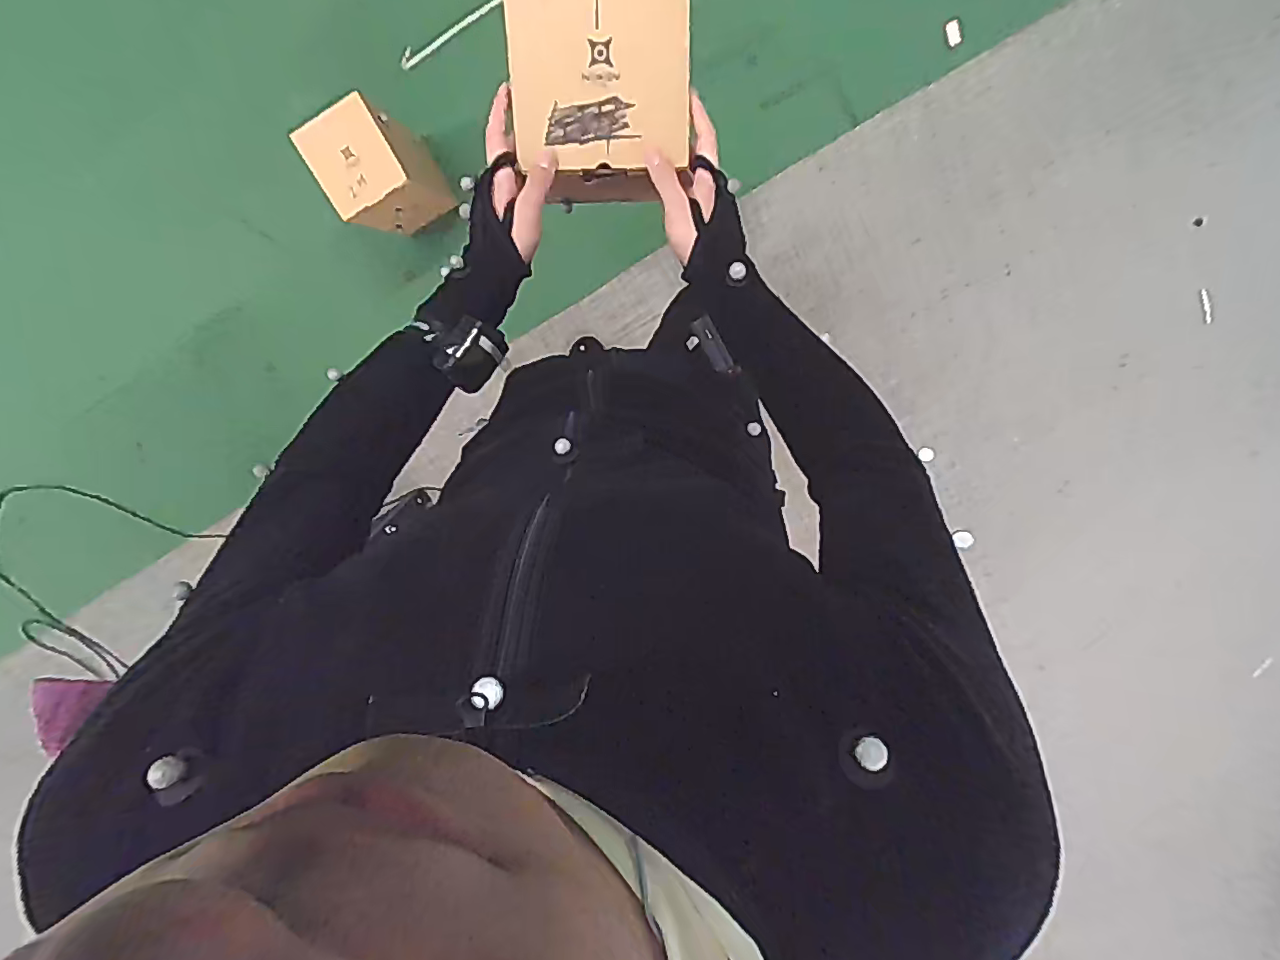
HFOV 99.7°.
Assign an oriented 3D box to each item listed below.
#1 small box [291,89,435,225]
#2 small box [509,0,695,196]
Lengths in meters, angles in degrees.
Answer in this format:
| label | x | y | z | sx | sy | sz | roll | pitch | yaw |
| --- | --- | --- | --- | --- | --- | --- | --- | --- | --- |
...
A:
| label | x | y | z | sx | sy | sz | roll | pitch | yaw |
| --- | --- | --- | --- | --- | --- | --- | --- | --- | --- |
| small box | -0.569 | -0.662 | 1.135 | 0.168 | 0.176 | 0.179 | -25 | 108 | 9 |
| small box | -0.034 | -0.402 | 0.560 | 0.168 | 0.176 | 0.179 | -2 | 107 | -1 |
